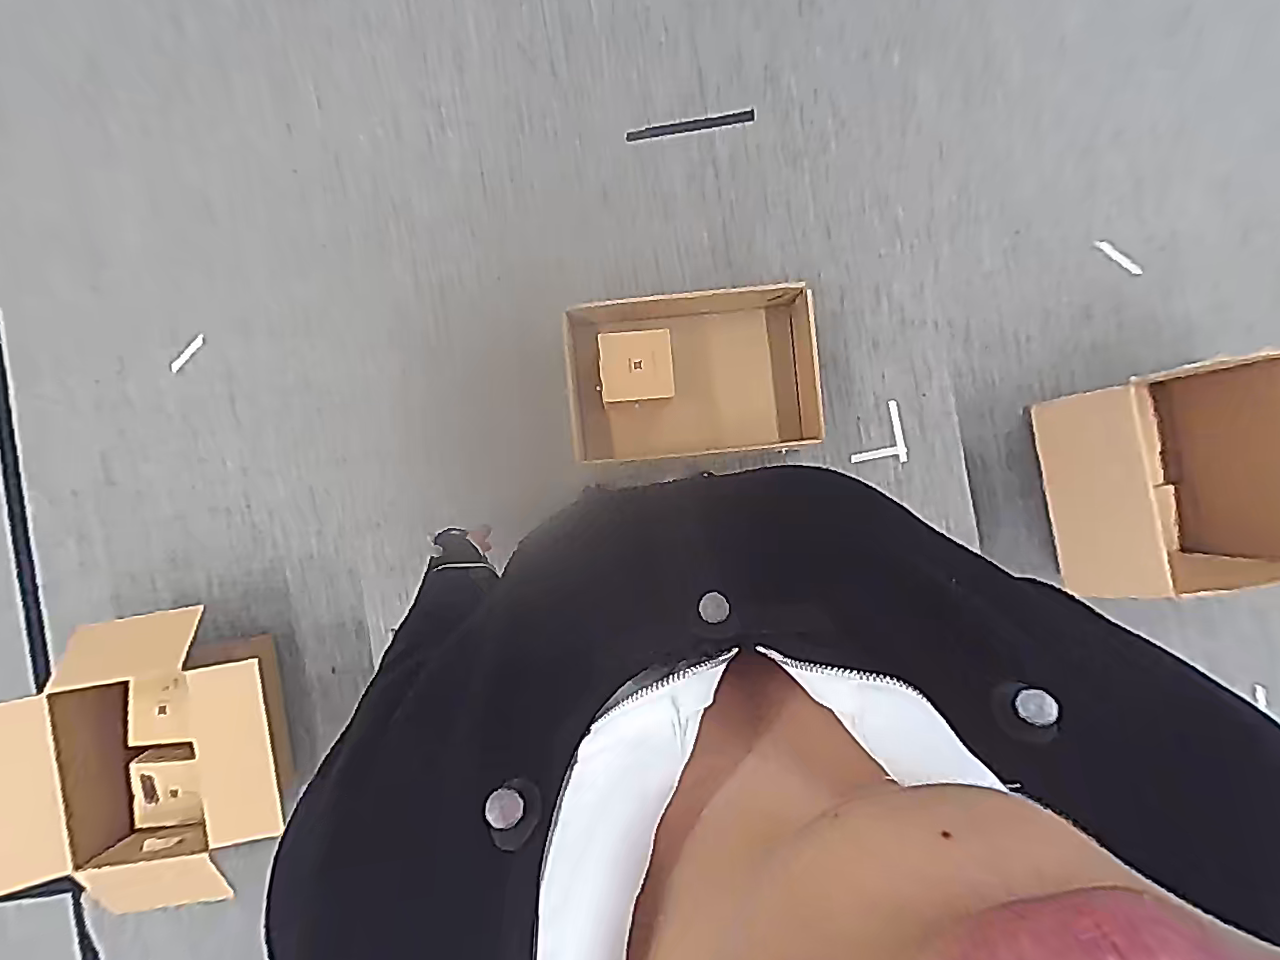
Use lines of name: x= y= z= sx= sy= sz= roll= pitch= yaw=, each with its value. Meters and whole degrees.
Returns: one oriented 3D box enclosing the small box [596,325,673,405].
small box: x=-0.015 y=-0.287 z=1.381 sx=0.179 sy=0.176 sz=0.168 roll=-5 pitch=93 yaw=-2
